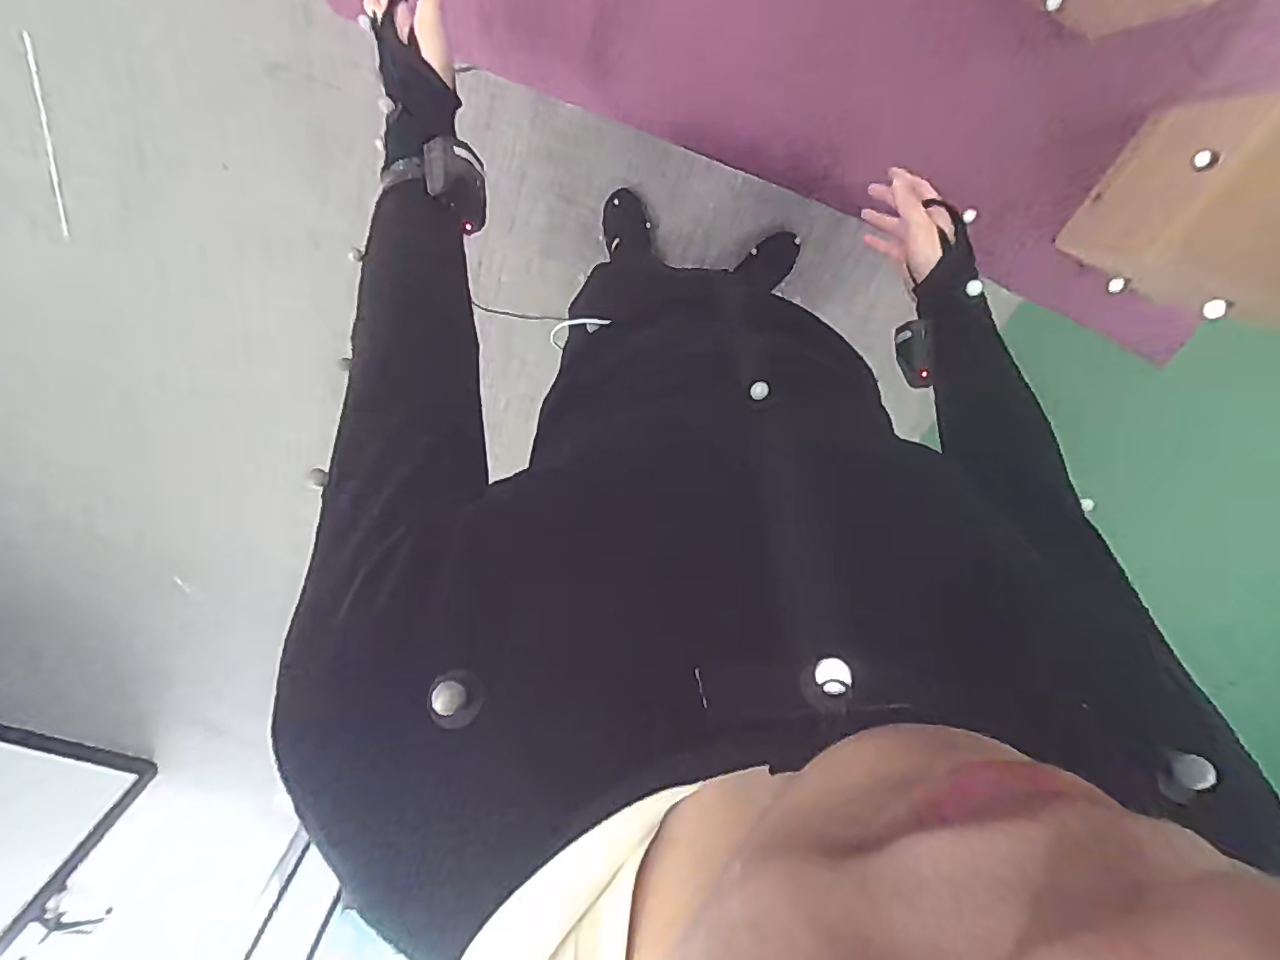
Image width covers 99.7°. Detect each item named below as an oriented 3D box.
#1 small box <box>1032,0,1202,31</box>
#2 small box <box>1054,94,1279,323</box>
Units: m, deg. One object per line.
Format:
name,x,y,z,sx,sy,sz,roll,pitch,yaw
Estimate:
small box,0.464,-0.559,0.488,0.168,0.176,0.179,23,120,-9
small box,0.647,-0.309,0.622,0.179,0.176,0.168,23,119,-9
